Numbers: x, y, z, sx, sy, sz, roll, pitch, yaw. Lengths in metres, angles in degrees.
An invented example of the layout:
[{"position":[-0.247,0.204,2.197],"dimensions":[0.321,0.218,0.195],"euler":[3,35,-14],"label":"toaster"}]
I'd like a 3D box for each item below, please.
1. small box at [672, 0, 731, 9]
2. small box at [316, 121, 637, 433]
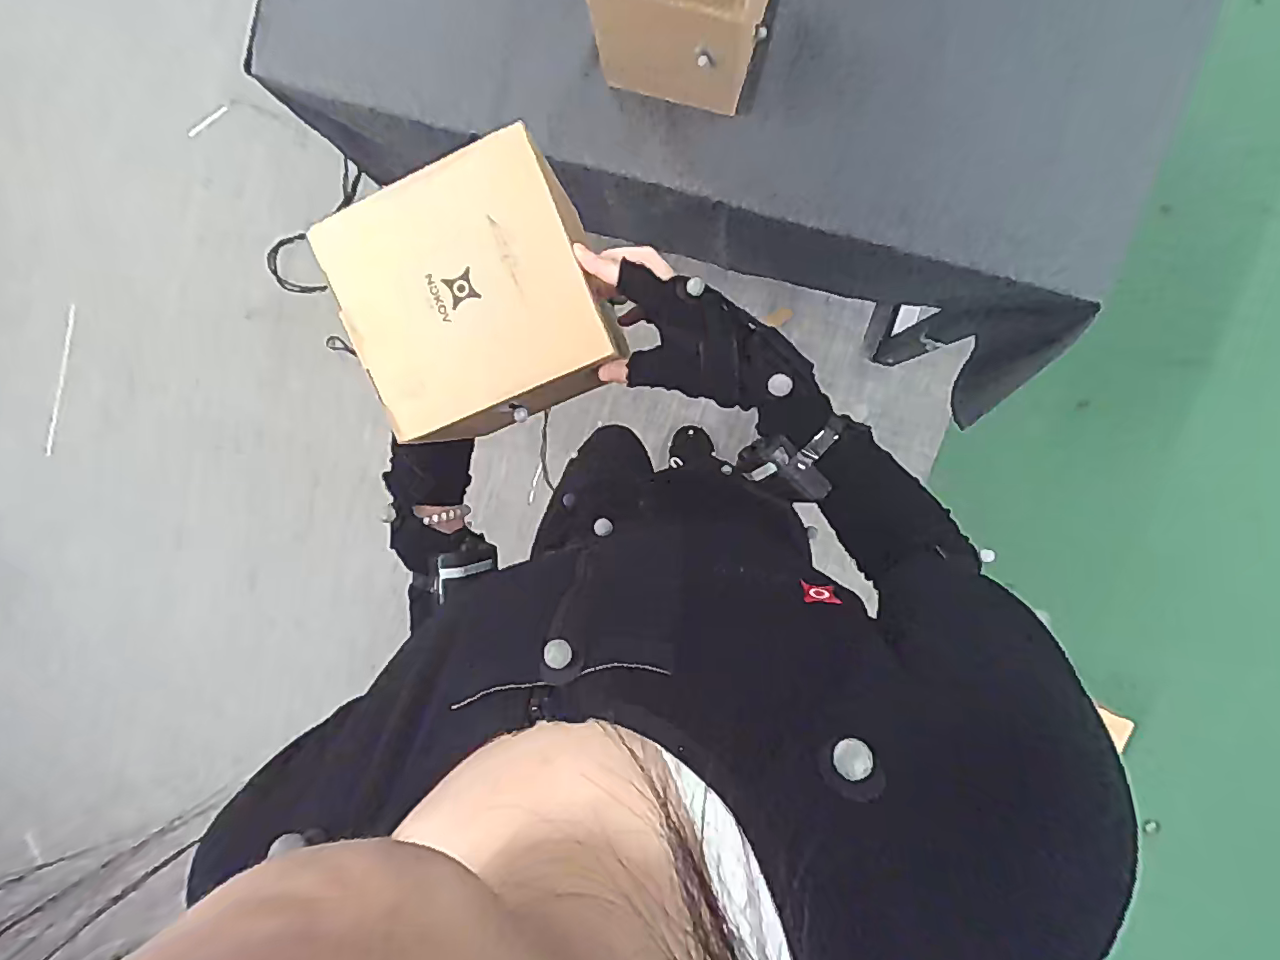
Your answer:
[{"position":[0.038,-0.563,0.465],"dimensions":[0.179,0.176,0.168],"euler":[16,95,5],"label":"small box"},{"position":[-0.116,-0.146,0.457],"dimensions":[0.179,0.176,0.168],"euler":[-20,95,8],"label":"small box"}]
